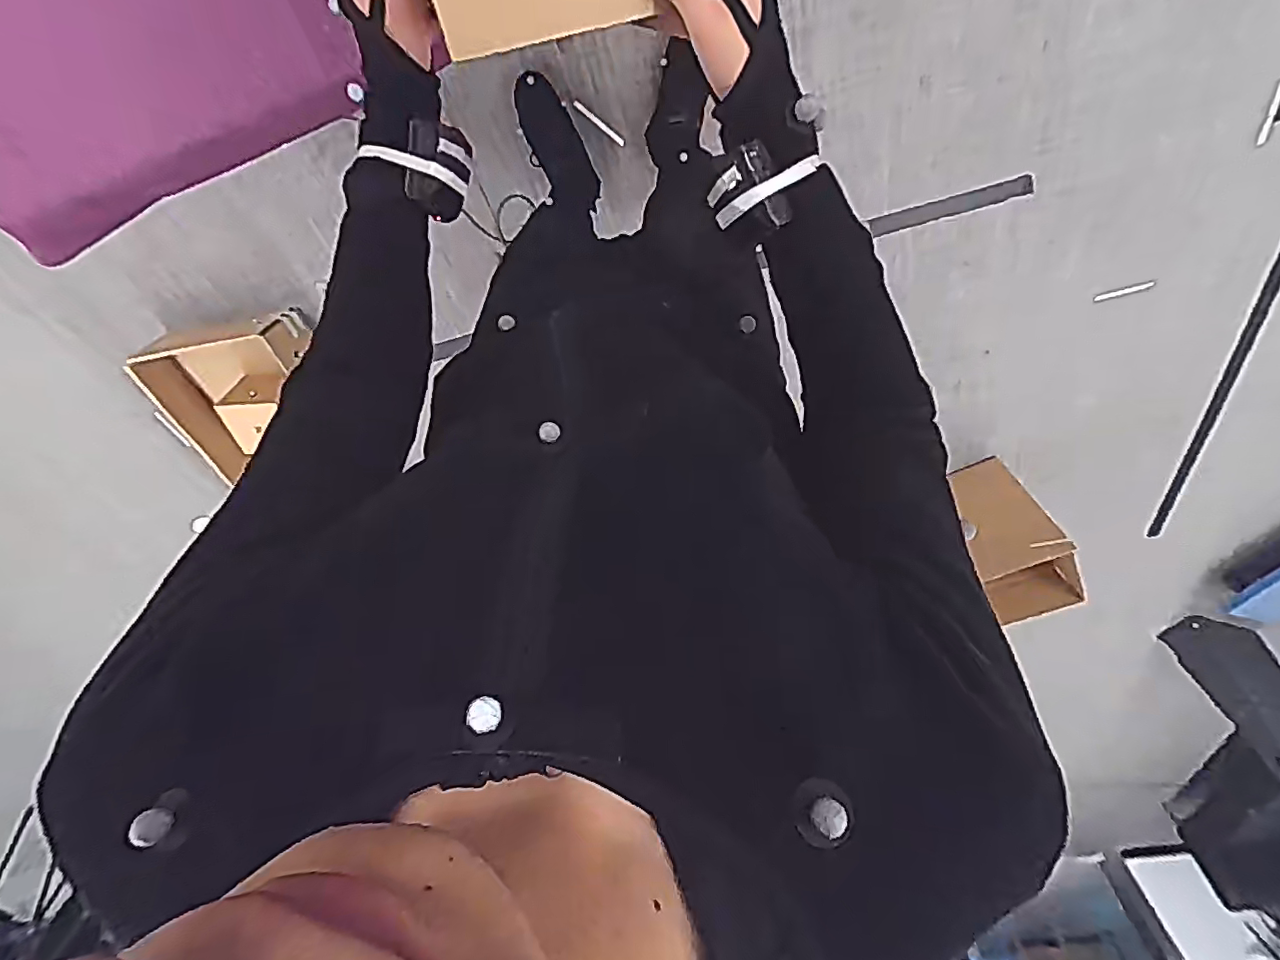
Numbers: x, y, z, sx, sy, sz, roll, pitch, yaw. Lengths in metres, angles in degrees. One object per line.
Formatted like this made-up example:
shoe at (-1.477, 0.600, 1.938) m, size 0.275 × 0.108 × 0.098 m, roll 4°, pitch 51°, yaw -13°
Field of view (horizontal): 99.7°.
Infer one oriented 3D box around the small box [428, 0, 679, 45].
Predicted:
small box at (-0.063, -0.387, 0.318) m, size 0.179 × 0.176 × 0.168 m, roll -17°, pitch 140°, yaw -5°

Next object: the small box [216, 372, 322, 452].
small box at (-1.051, -0.199, 1.555) m, size 0.179 × 0.176 × 0.168 m, roll -3°, pitch 131°, yaw 0°
